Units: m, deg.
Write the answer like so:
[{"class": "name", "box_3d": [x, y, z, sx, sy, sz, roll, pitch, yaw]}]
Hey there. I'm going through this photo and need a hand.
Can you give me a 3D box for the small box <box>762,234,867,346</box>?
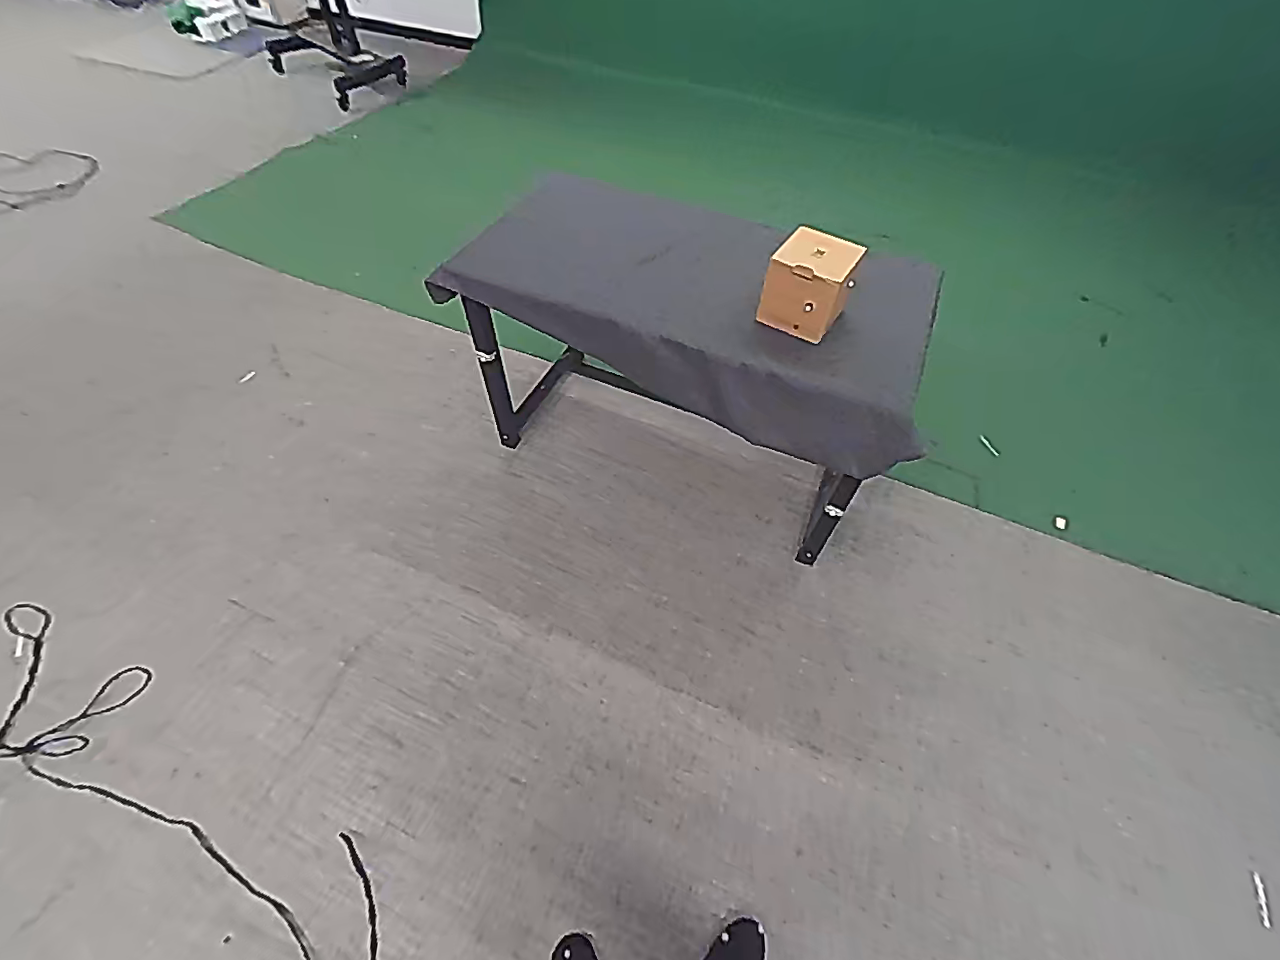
[{"class": "small box", "box_3d": [0.408, -0.449, 1.288, 0.168, 0.176, 0.179, 30, 56, 17]}]
